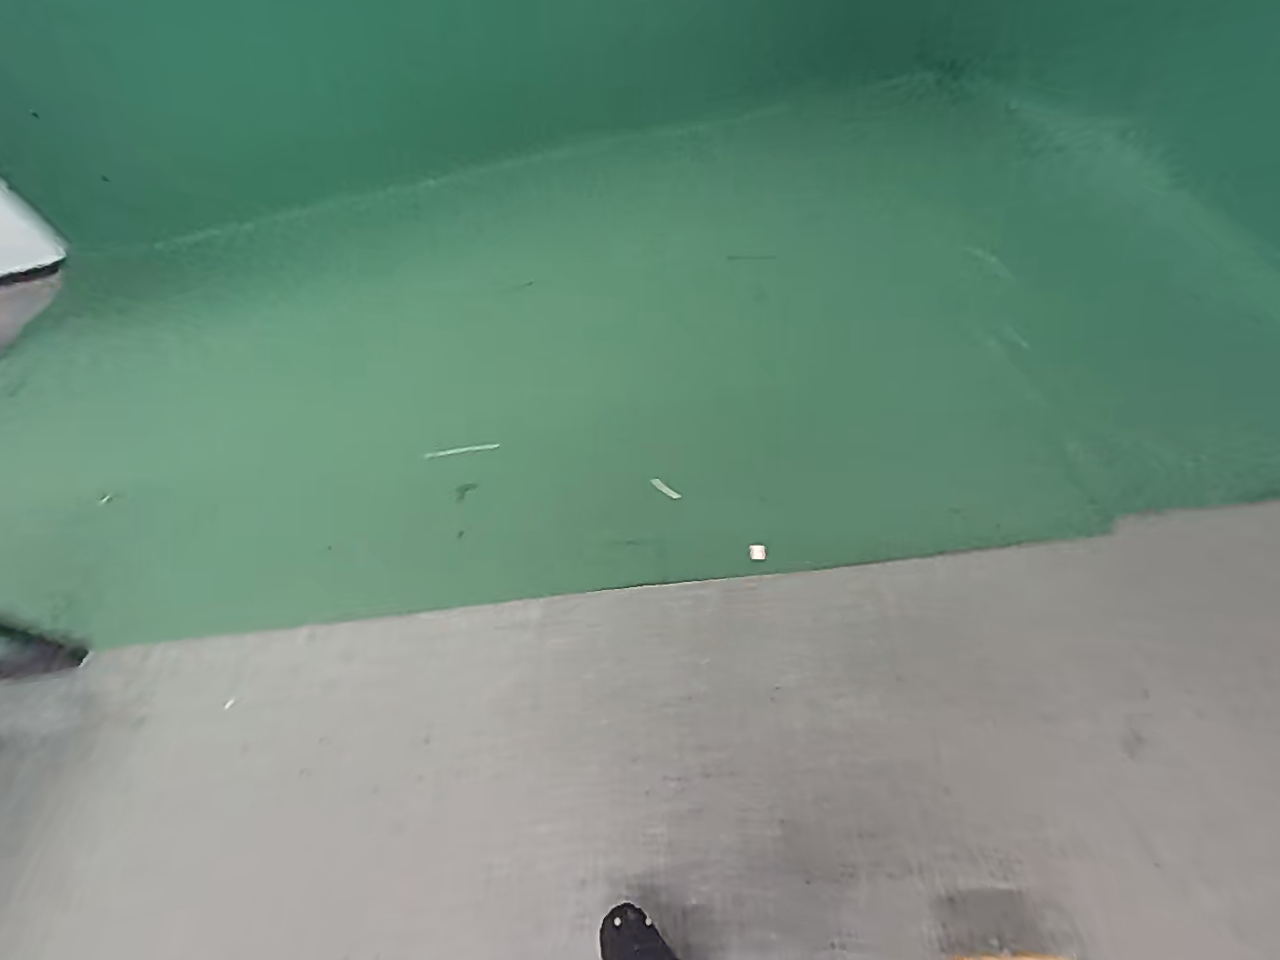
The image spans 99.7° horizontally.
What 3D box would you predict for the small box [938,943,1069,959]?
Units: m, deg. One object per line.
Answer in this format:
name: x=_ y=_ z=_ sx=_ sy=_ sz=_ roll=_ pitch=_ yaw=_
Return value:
small box: x=0.624 y=0.887 z=0.893 sx=0.168 sy=0.176 sz=0.179 roll=-7 pitch=51 yaw=7
